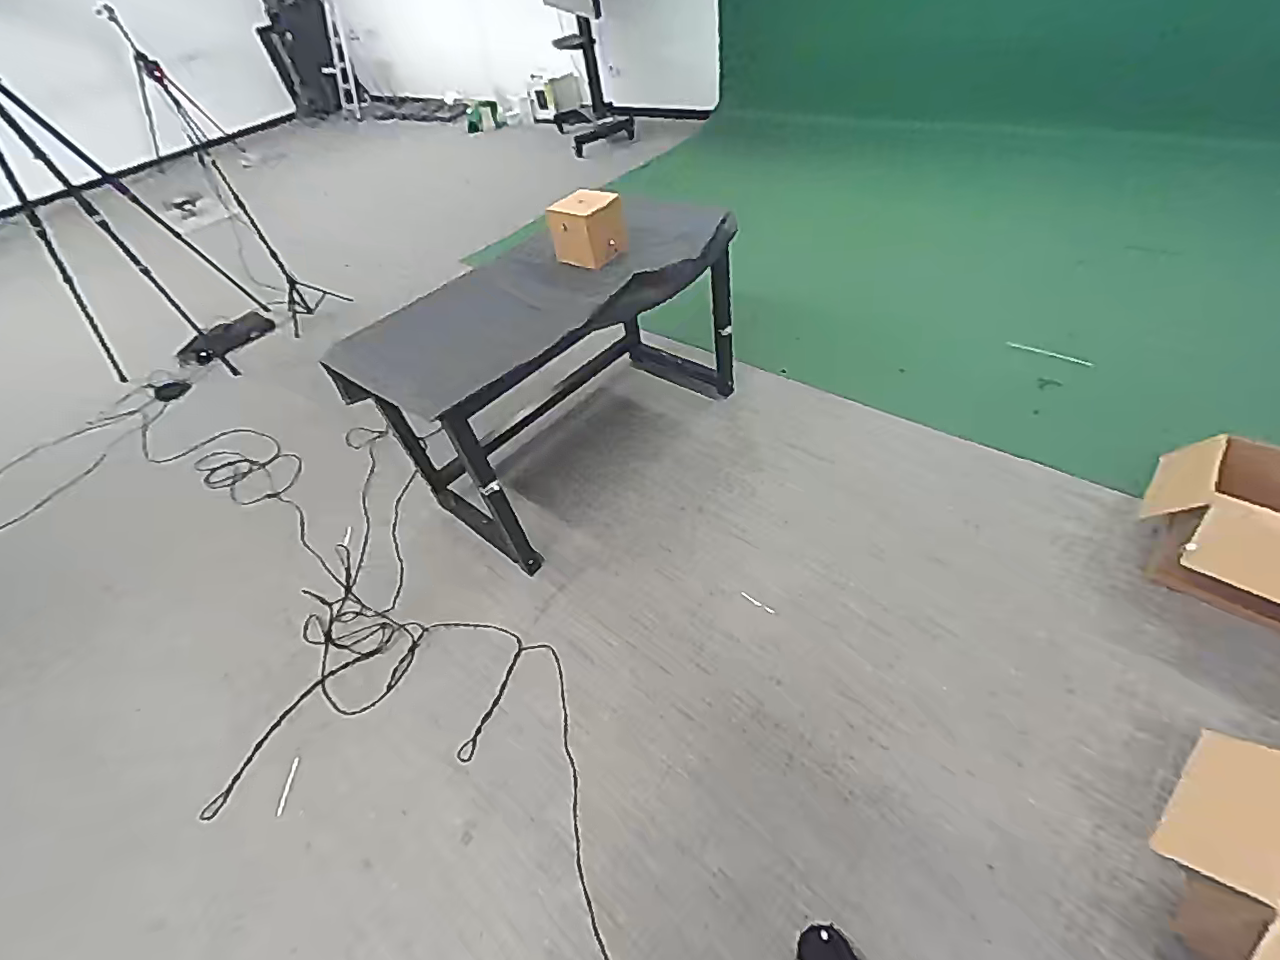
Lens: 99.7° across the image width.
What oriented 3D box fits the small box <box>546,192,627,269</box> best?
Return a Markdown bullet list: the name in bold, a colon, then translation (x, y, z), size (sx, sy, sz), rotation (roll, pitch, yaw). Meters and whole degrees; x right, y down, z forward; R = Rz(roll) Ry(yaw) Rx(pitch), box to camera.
- **small box**: translation (-0.165, -0.792, 1.718), size (0.179, 0.176, 0.168), rotation (26, 57, 31)
